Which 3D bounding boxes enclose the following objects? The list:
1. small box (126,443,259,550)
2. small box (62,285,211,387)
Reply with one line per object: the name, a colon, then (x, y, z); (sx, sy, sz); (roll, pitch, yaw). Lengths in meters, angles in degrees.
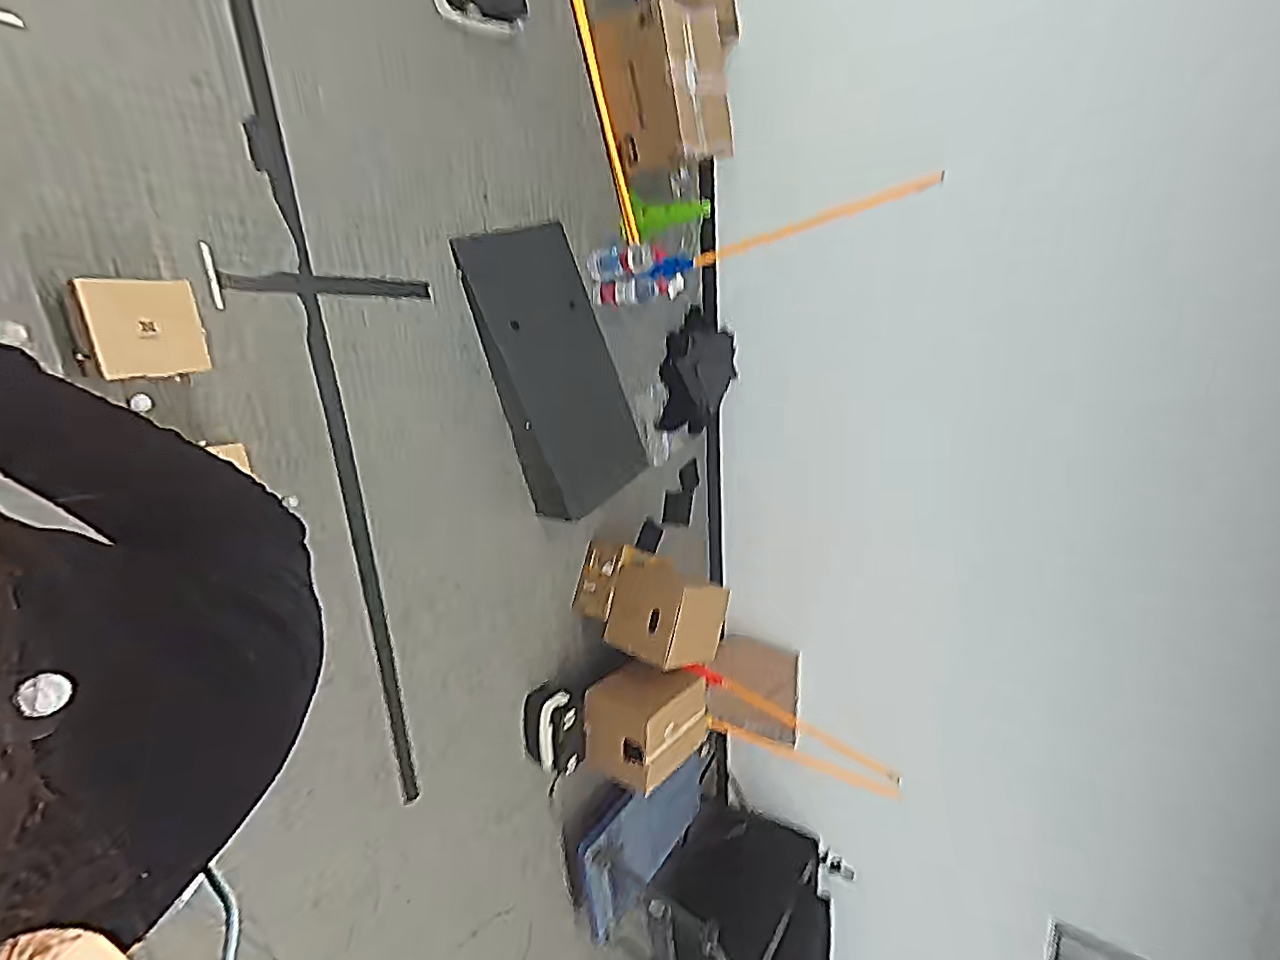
small box: (-0.948, 0.026, 1.149); (0.168, 0.176, 0.179); (-21, 114, -50)
small box: (-0.977, -0.278, 1.053); (0.168, 0.176, 0.179); (-21, 113, -50)
